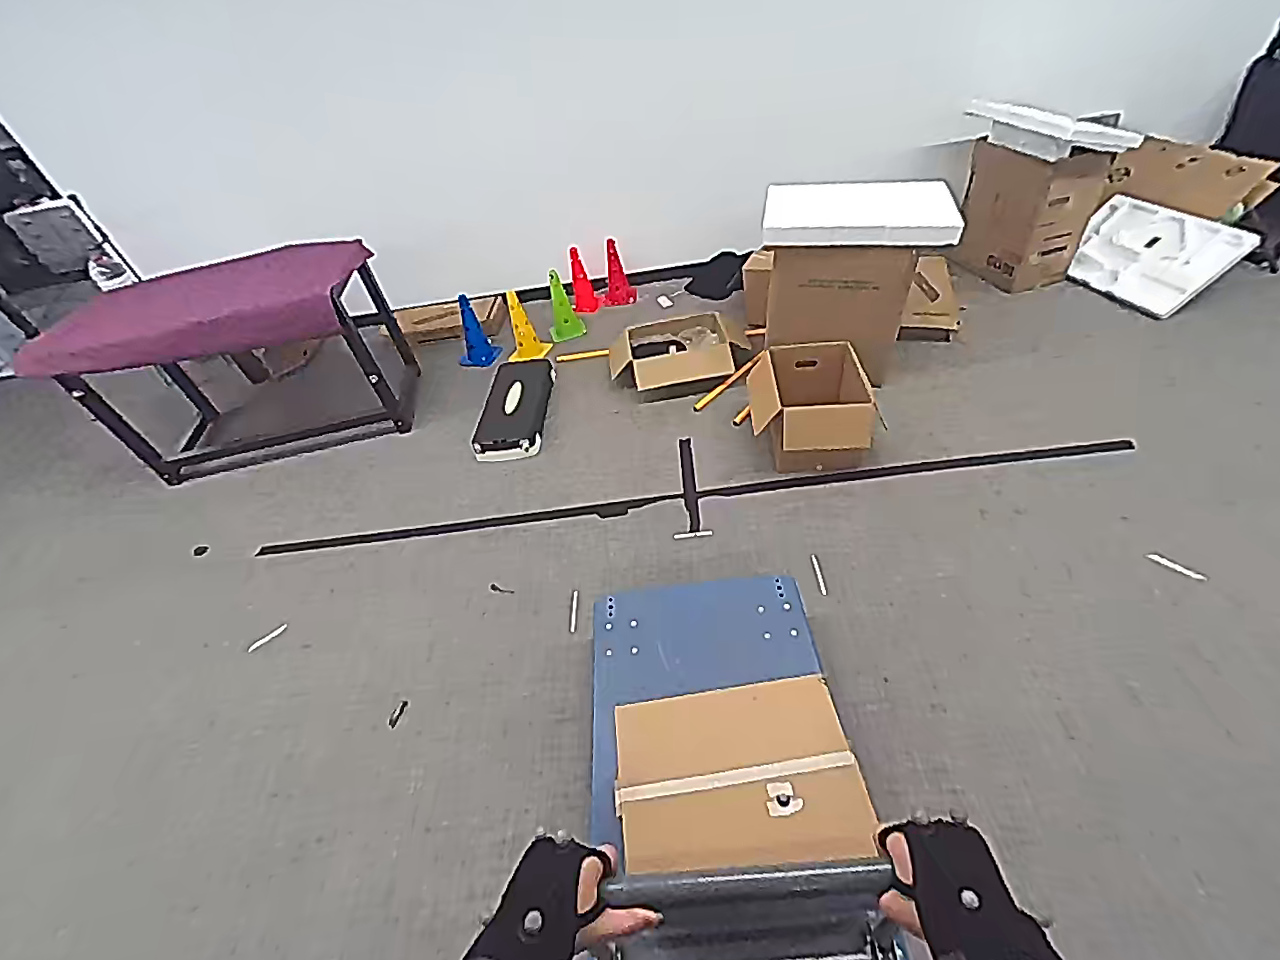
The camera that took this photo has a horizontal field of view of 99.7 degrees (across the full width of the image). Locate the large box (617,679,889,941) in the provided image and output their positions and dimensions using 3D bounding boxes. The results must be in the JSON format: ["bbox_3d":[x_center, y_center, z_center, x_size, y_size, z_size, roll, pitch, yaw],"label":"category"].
[{"bbox_3d":[0.184,0.625,1.027,0.408,0.320,0.320,-9,44,0],"label":"large box"}]
